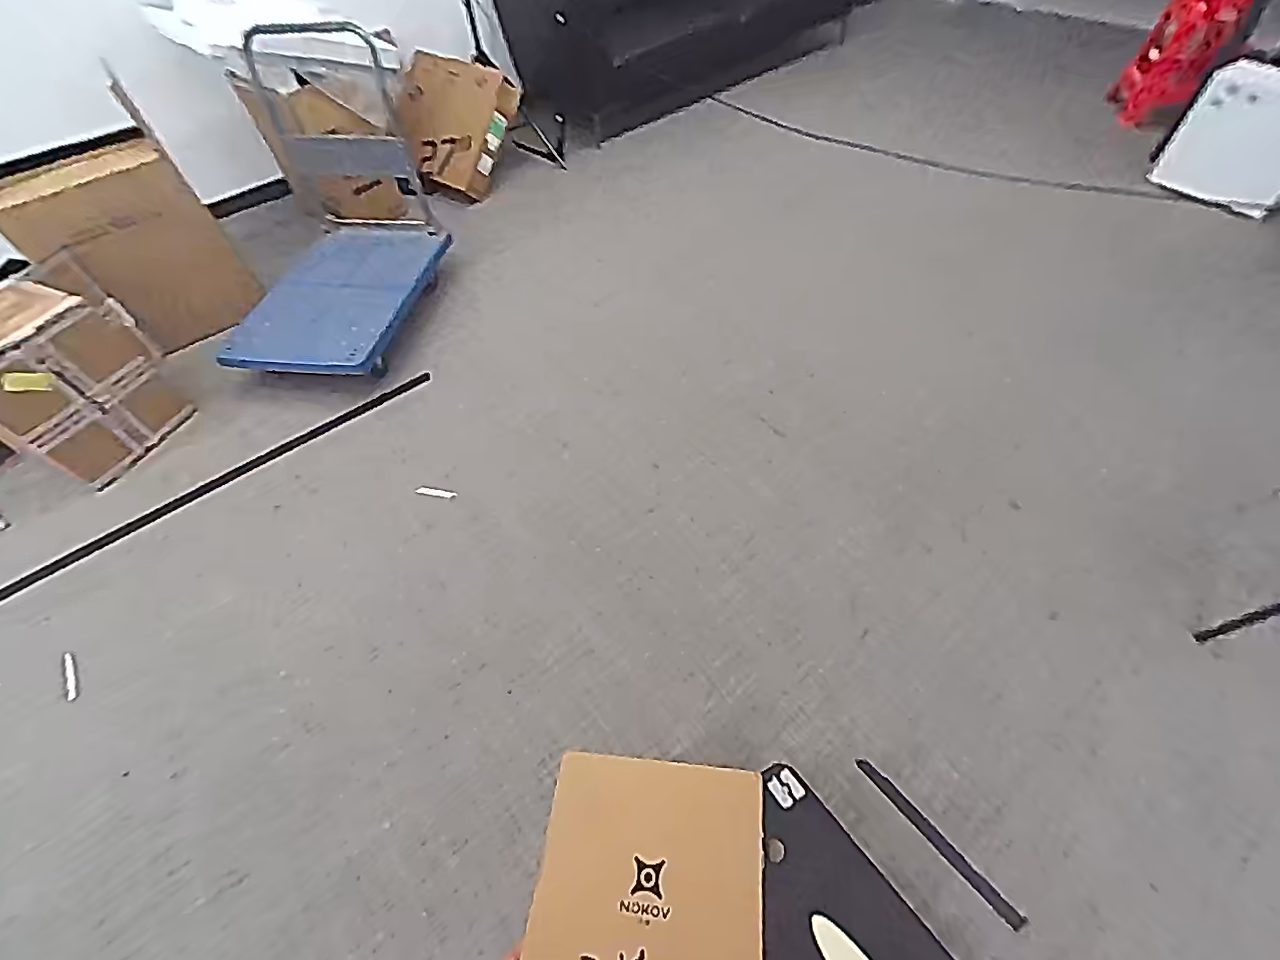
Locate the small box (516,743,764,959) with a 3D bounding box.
[{"bbox_3d":[0.015,0.341,0.444,0.168,0.176,0.179,1,50,12],"label":"small box"}]
